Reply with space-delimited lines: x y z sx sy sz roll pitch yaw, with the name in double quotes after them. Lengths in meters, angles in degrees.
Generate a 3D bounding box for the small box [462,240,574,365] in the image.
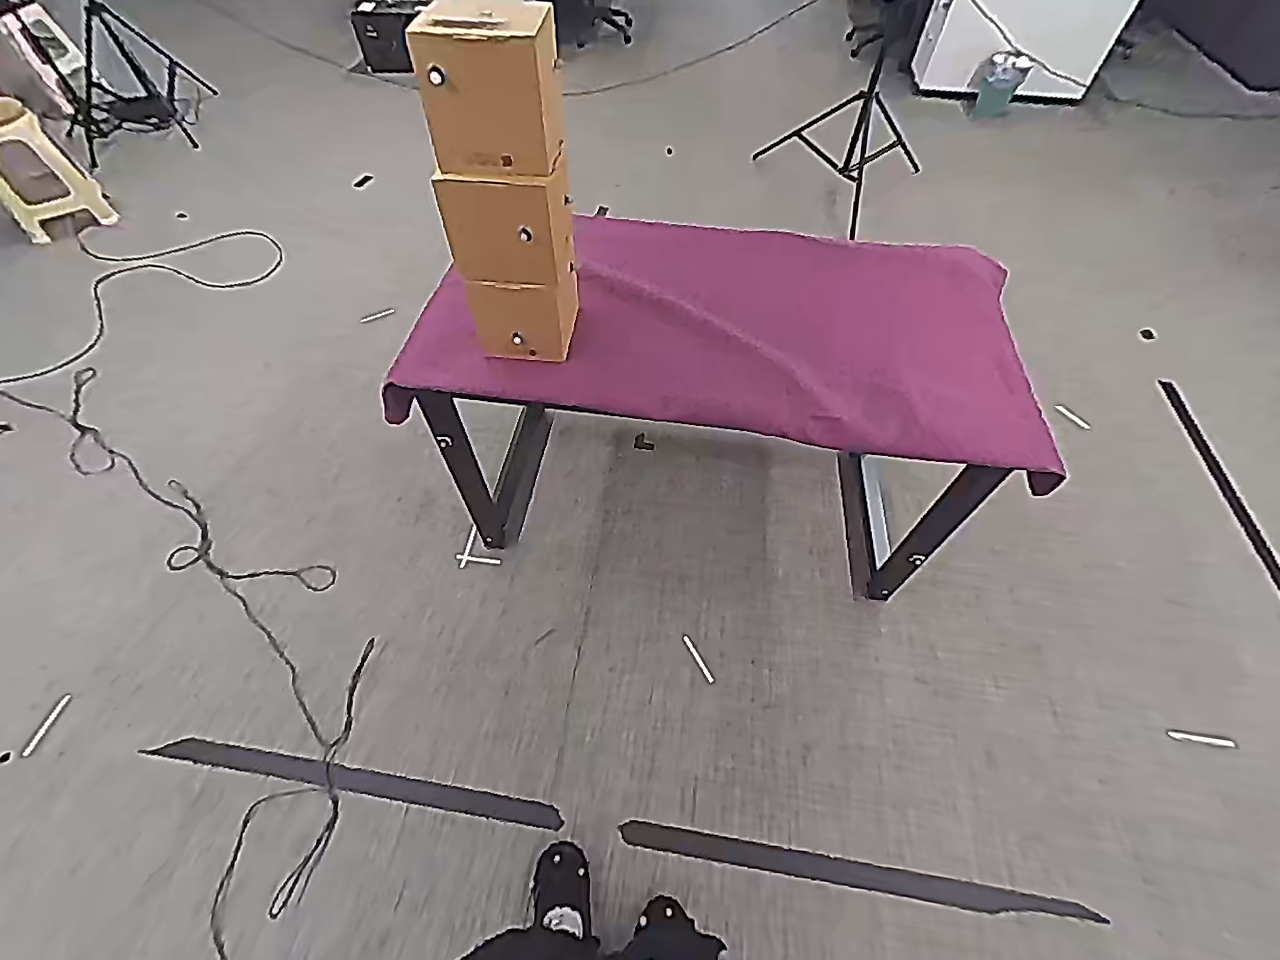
-0.222 -0.347 1.041 0.168 0.176 0.179 4 55 2 "small box"

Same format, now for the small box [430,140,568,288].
-0.221 -0.442 0.910 0.179 0.176 0.168 3 53 2 "small box"
